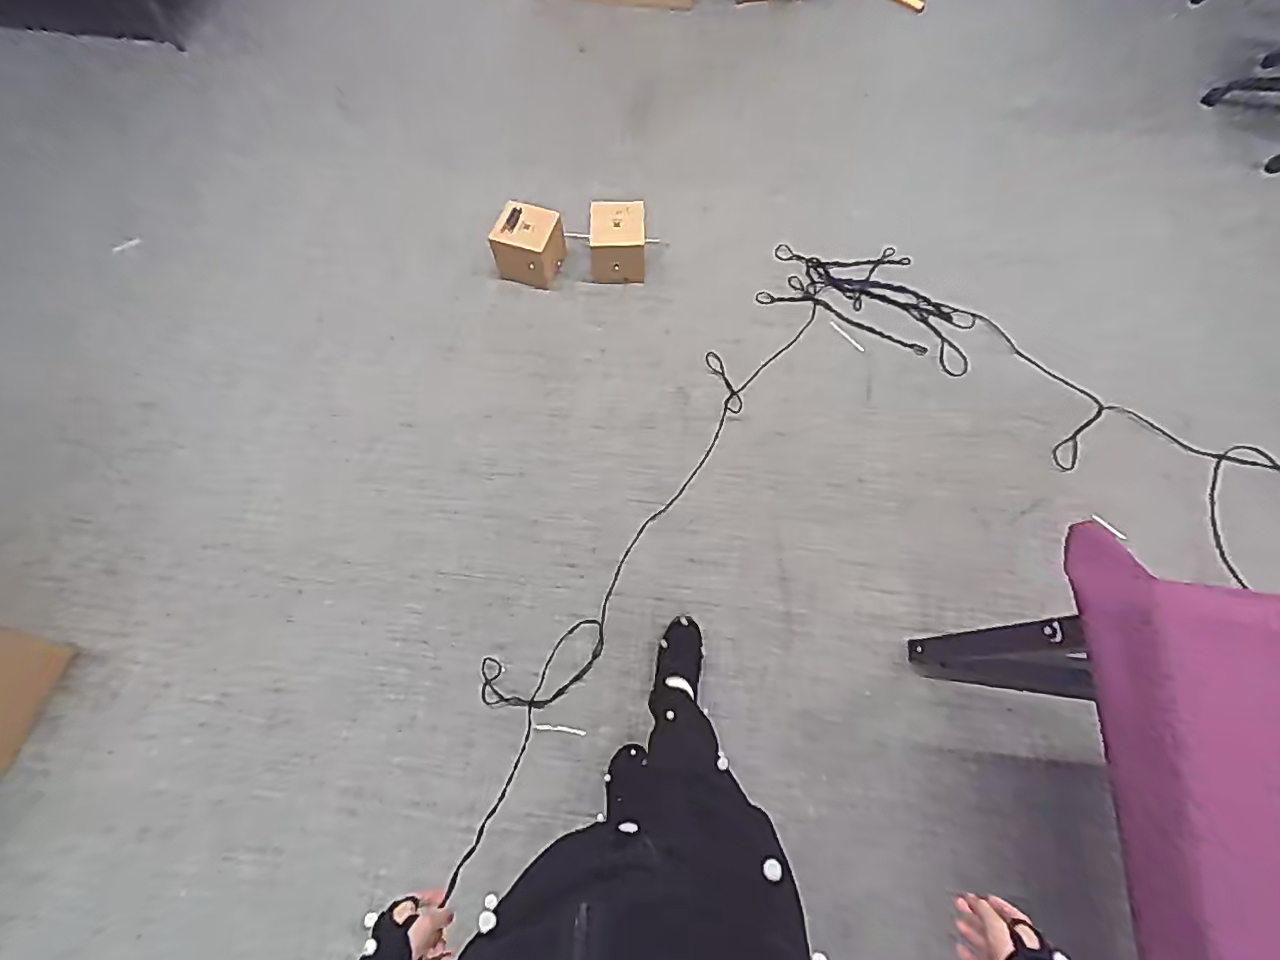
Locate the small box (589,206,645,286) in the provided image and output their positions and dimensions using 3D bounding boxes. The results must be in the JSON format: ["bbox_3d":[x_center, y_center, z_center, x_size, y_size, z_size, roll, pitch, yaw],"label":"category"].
[{"bbox_3d":[-0.068,-0.739,1.721,0.168,0.176,0.179,0,69,1],"label":"small box"}]
